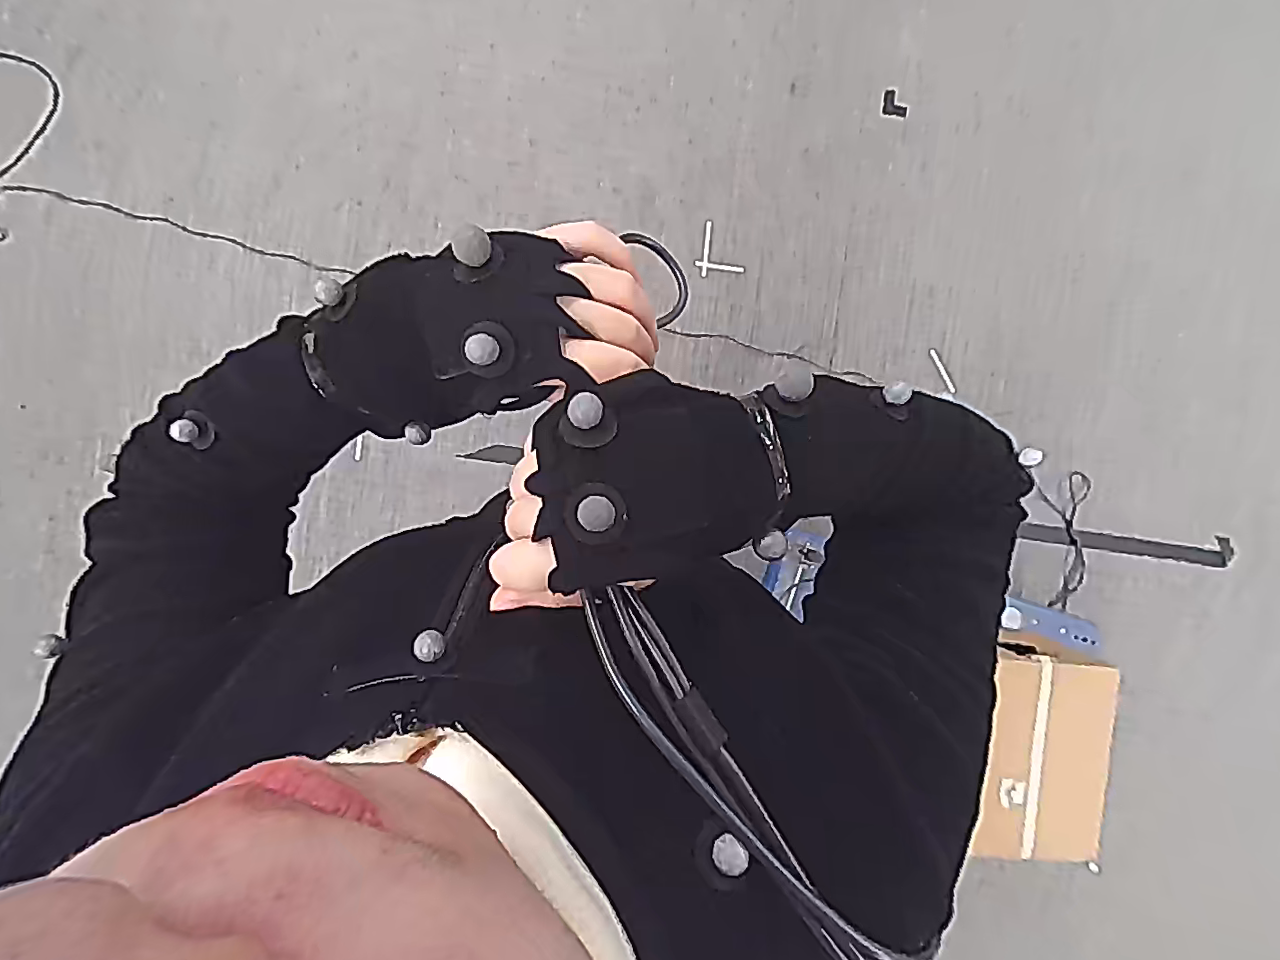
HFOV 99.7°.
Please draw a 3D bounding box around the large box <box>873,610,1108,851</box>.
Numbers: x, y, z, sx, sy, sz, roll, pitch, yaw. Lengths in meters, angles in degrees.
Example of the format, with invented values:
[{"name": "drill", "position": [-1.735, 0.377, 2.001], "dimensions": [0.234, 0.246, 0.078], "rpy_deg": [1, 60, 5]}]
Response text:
[{"name": "large box", "position": [0.767, 0.539, 1.233], "dimensions": [0.320, 0.320, 0.408], "rpy_deg": [6, 93, -2]}]
